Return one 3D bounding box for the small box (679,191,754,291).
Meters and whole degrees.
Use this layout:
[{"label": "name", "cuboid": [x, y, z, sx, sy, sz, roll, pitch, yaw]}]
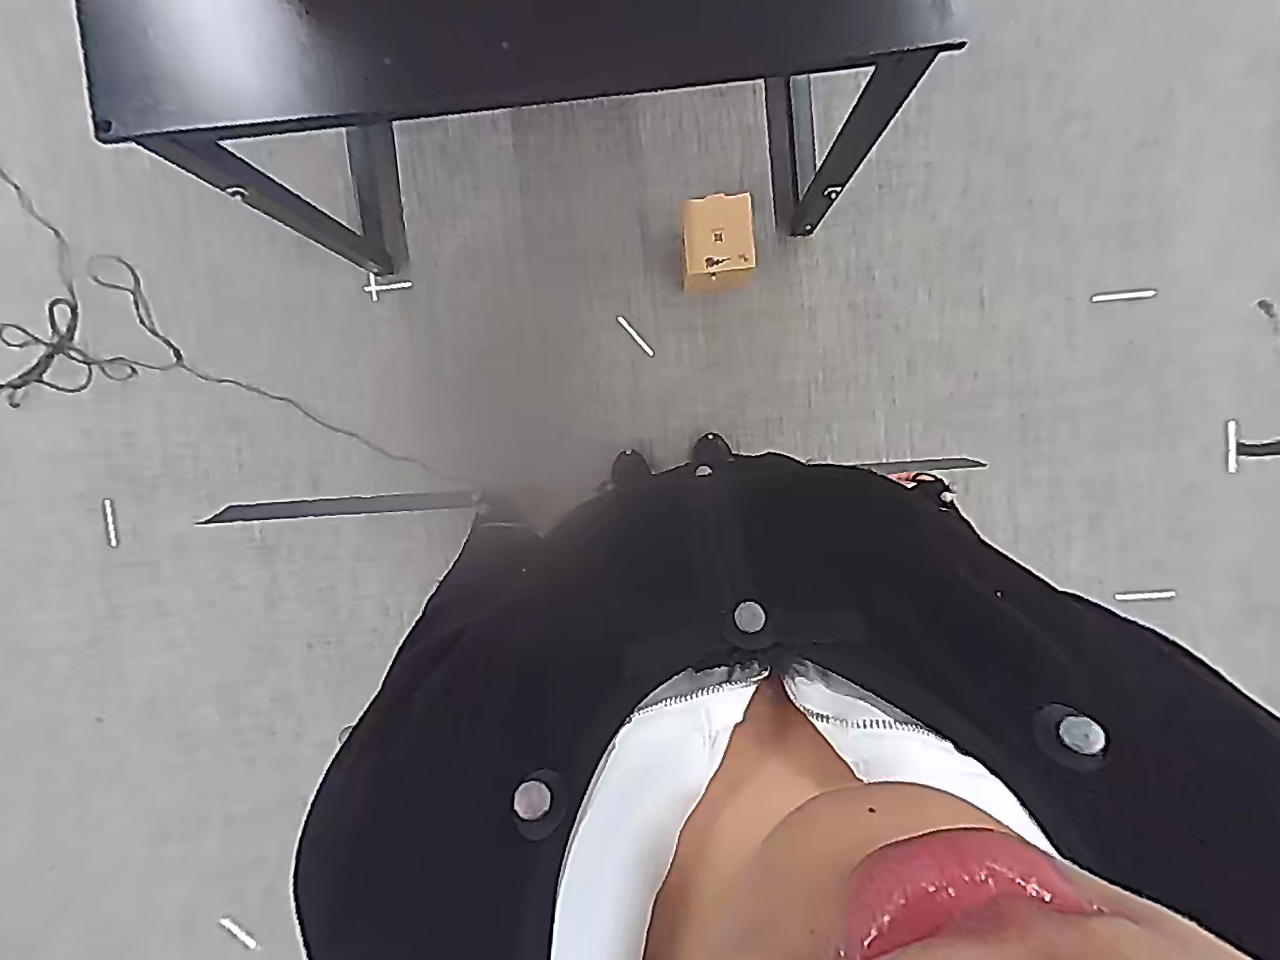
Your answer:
[{"label": "small box", "cuboid": [0.188, -0.594, 1.363, 0.168, 0.176, 0.179, -5, 94, 4]}]
